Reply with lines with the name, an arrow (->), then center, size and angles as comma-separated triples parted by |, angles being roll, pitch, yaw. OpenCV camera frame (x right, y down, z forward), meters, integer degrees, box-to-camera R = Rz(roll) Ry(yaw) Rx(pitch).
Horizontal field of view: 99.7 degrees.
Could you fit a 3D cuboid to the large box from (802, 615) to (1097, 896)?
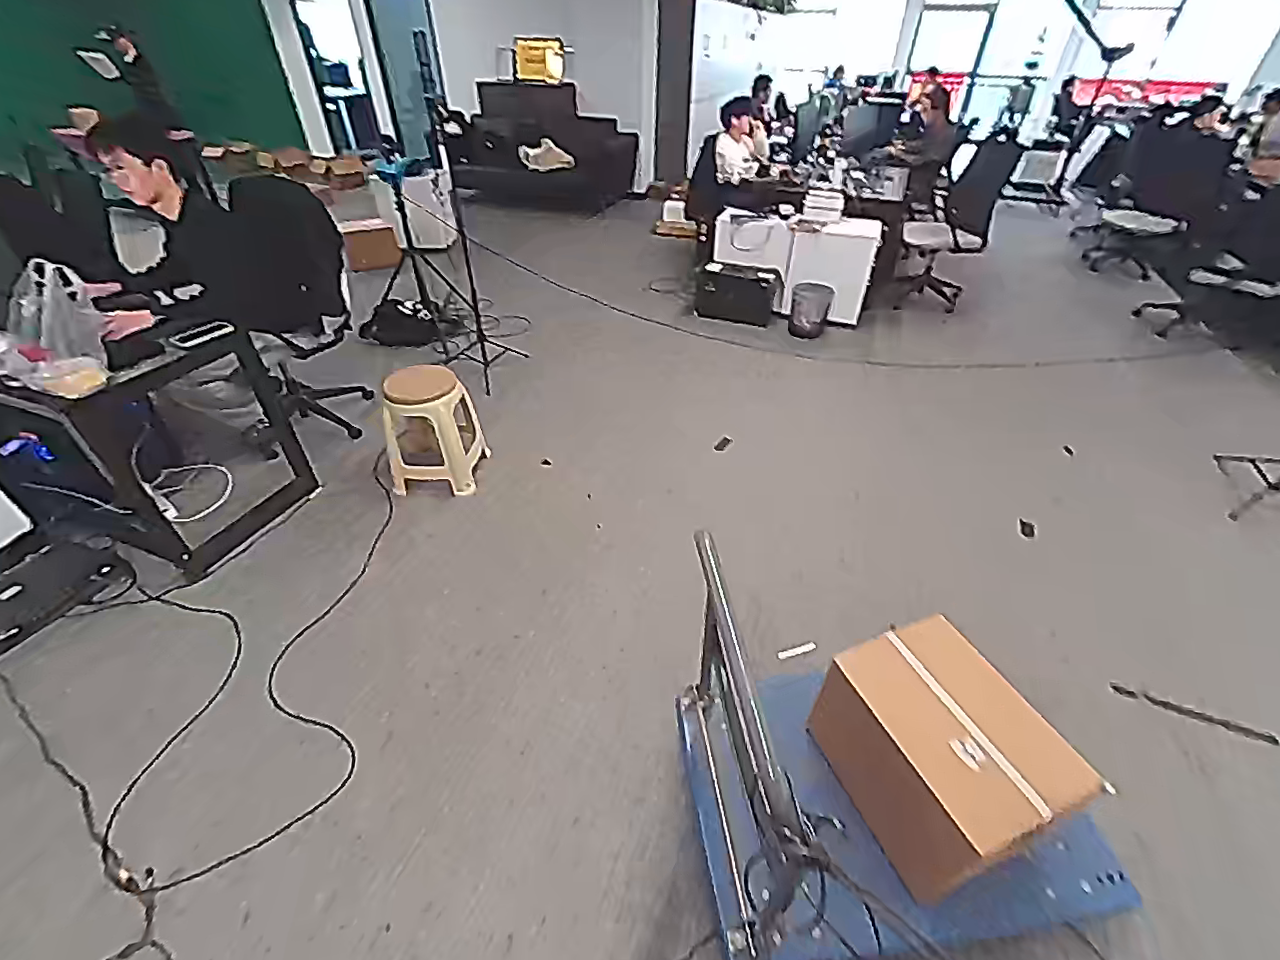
large box -> 0.621, 0.579, 1.177 | 0.320, 0.320, 0.408 | -14, 43, -17
